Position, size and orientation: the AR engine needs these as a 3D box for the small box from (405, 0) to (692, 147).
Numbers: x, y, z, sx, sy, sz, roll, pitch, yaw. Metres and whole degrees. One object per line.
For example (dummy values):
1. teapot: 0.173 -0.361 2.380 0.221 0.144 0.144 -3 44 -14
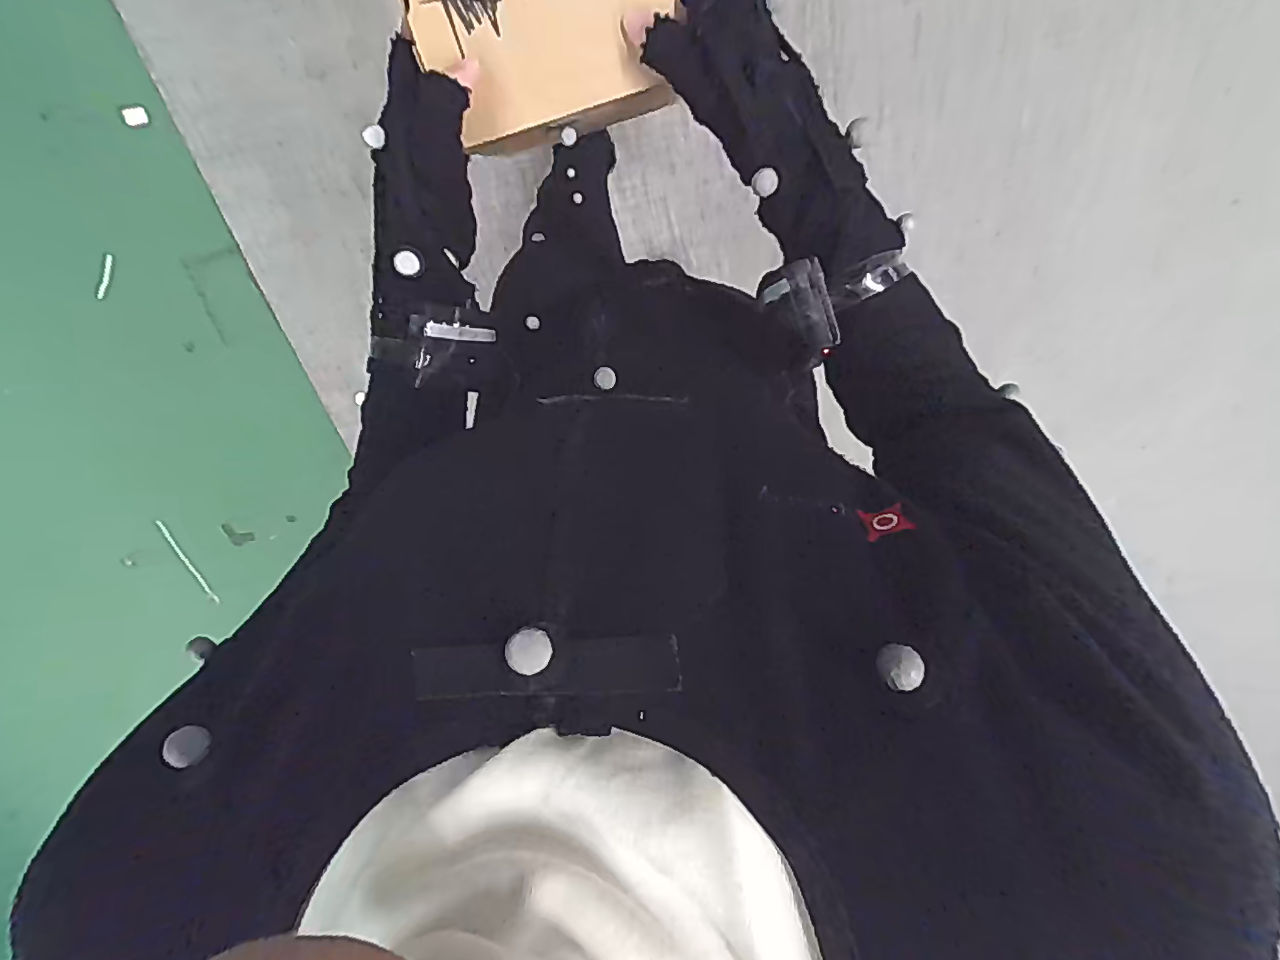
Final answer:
1. small box: -0.065 -0.365 0.403 0.179 0.176 0.168 -13 119 8
